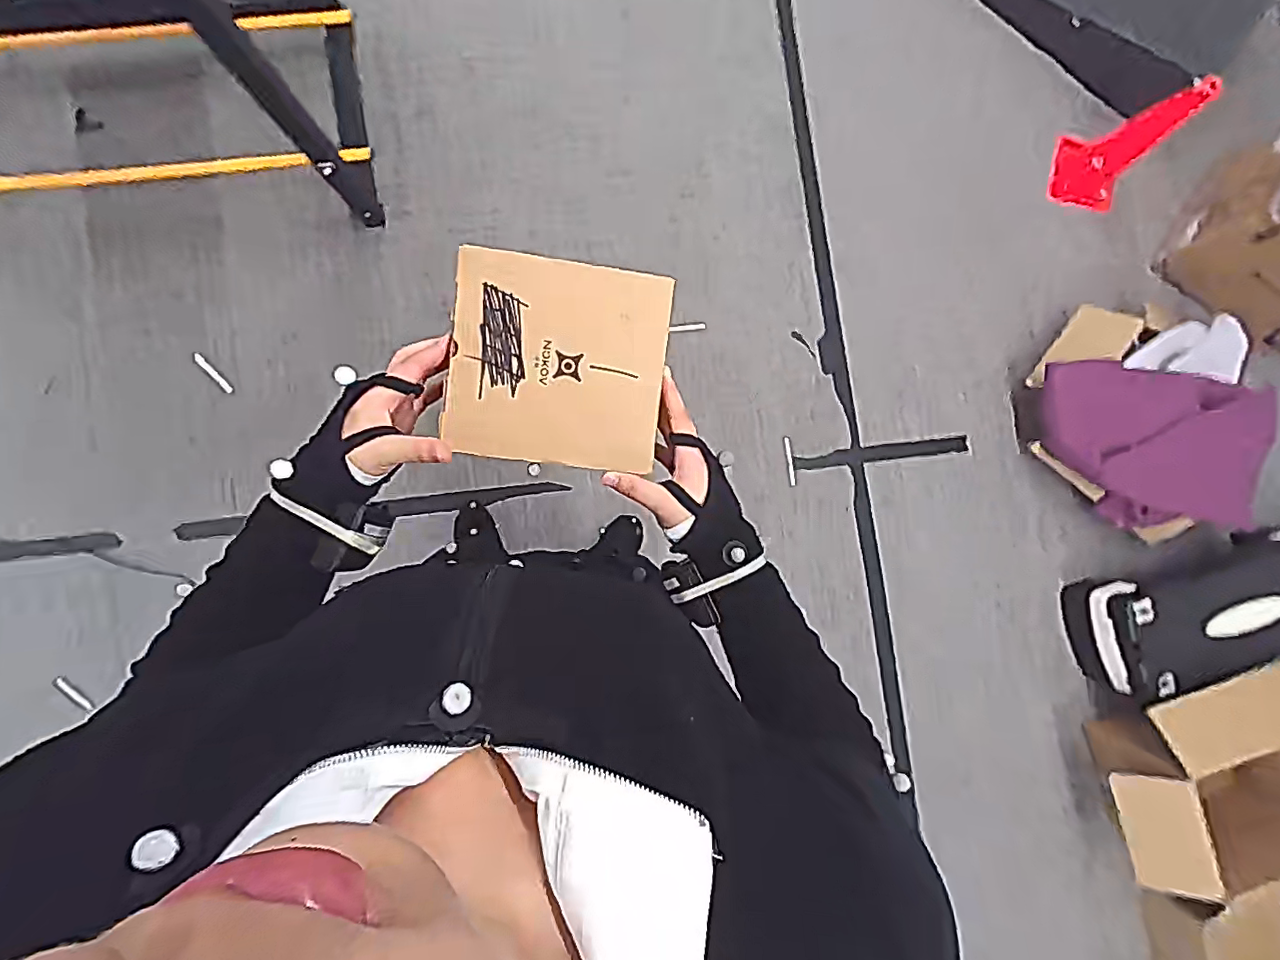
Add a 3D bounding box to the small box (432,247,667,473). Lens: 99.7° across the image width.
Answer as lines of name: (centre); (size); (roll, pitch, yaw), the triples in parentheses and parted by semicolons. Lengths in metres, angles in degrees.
small box: (-0.081, -0.099, 0.517); (0.179, 0.176, 0.168); (6, 93, -7)
